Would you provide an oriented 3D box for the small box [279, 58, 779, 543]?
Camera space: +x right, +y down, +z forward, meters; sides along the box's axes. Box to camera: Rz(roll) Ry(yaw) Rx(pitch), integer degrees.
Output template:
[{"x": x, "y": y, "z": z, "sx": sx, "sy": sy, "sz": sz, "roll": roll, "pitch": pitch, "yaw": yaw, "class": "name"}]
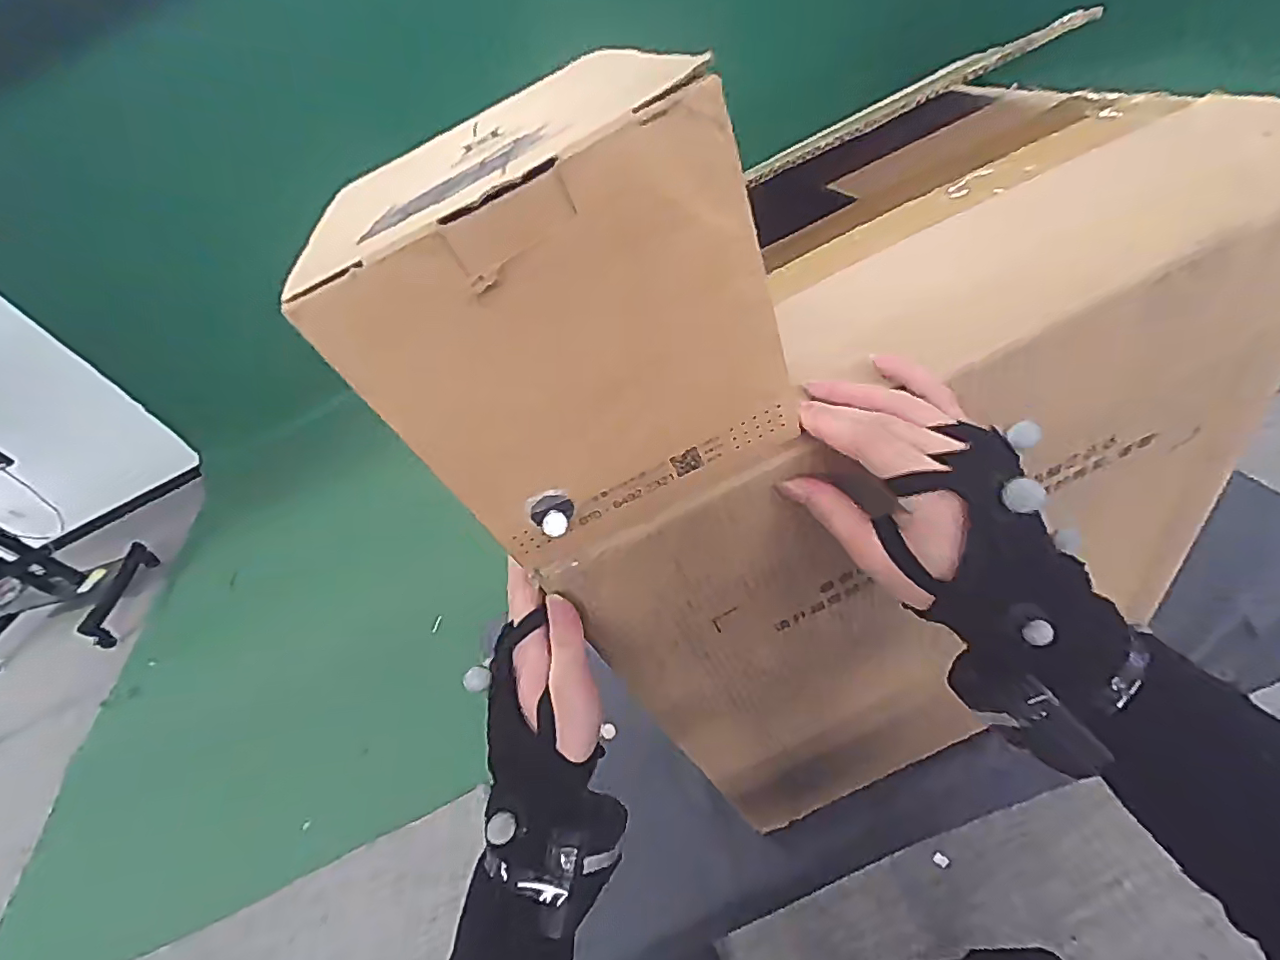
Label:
[{"x": -0.044, "y": -0.089, "z": 0.295, "sx": 0.168, "sy": 0.176, "sz": 0.179, "roll": -26, "pitch": 42, "yaw": 3, "class": "small box"}]
